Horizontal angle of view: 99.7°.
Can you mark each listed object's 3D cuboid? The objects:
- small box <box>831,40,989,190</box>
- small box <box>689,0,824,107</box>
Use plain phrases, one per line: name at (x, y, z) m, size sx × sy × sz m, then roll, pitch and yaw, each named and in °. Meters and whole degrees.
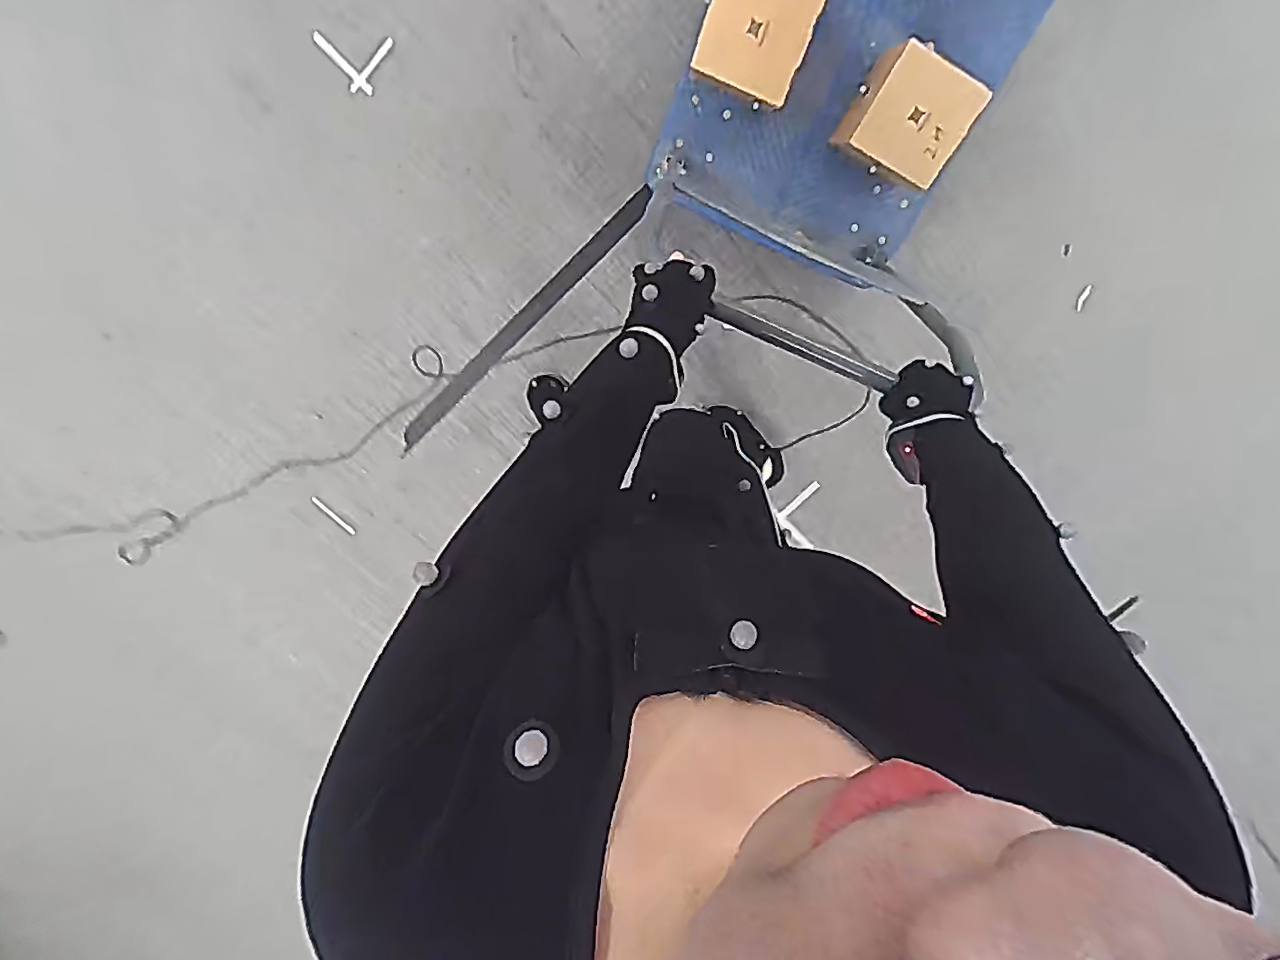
small box at (0.485, -0.667, 1.006) m, size 0.179 × 0.176 × 0.168 m, roll 25°, pitch 121°, yaw -11°
small box at (0.194, -0.784, 0.958) m, size 0.179 × 0.176 × 0.168 m, roll 18°, pitch 122°, yaw -9°
